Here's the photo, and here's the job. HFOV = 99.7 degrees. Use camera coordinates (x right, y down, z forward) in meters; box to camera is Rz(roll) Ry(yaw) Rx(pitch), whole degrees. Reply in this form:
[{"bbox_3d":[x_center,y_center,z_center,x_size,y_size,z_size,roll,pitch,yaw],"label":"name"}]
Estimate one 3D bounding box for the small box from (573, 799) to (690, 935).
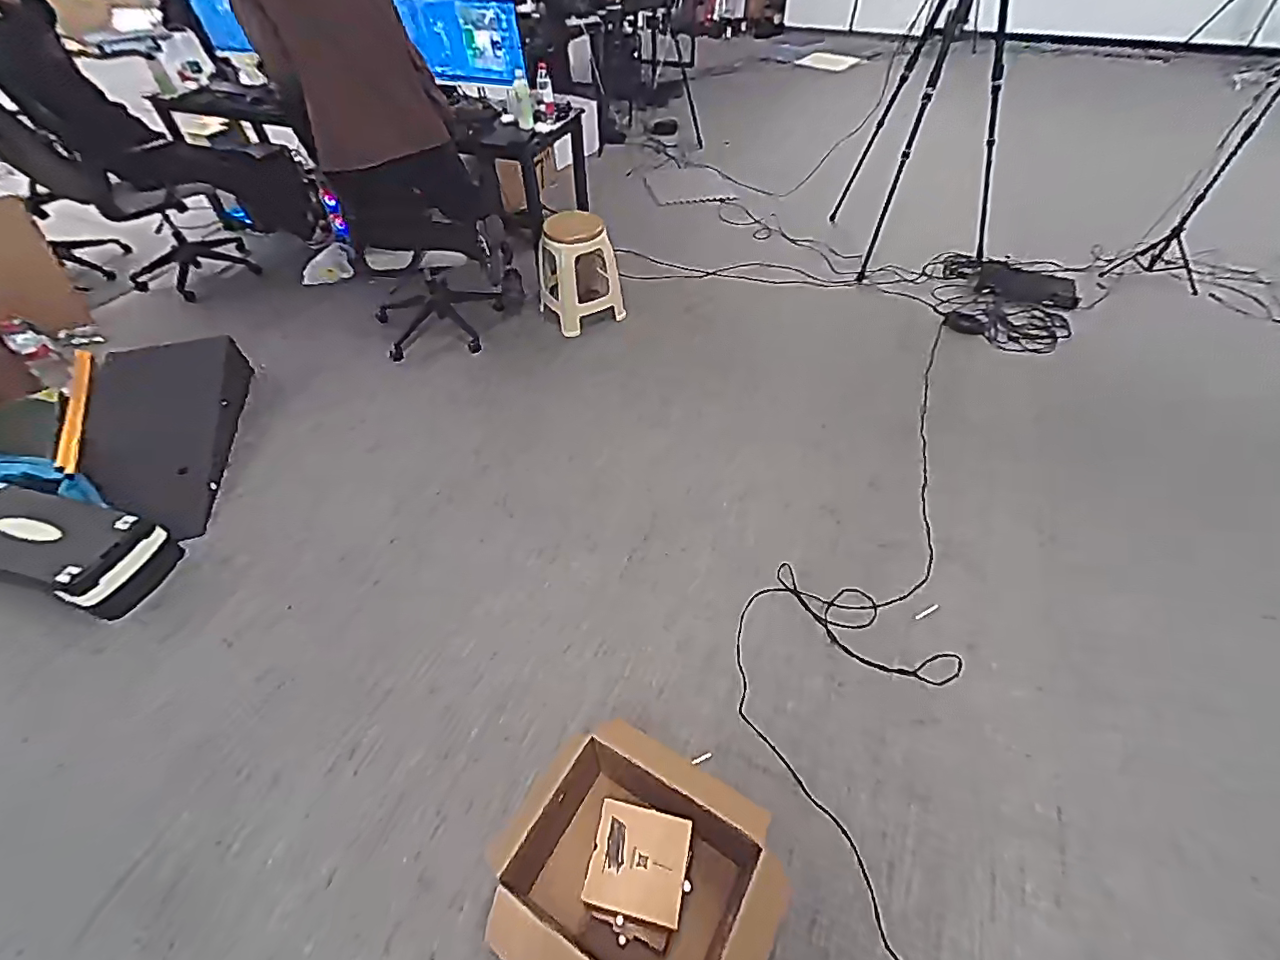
[{"bbox_3d":[-0.010,0.743,1.035,0.179,0.176,0.168,11,50,12],"label":"small box"}]
